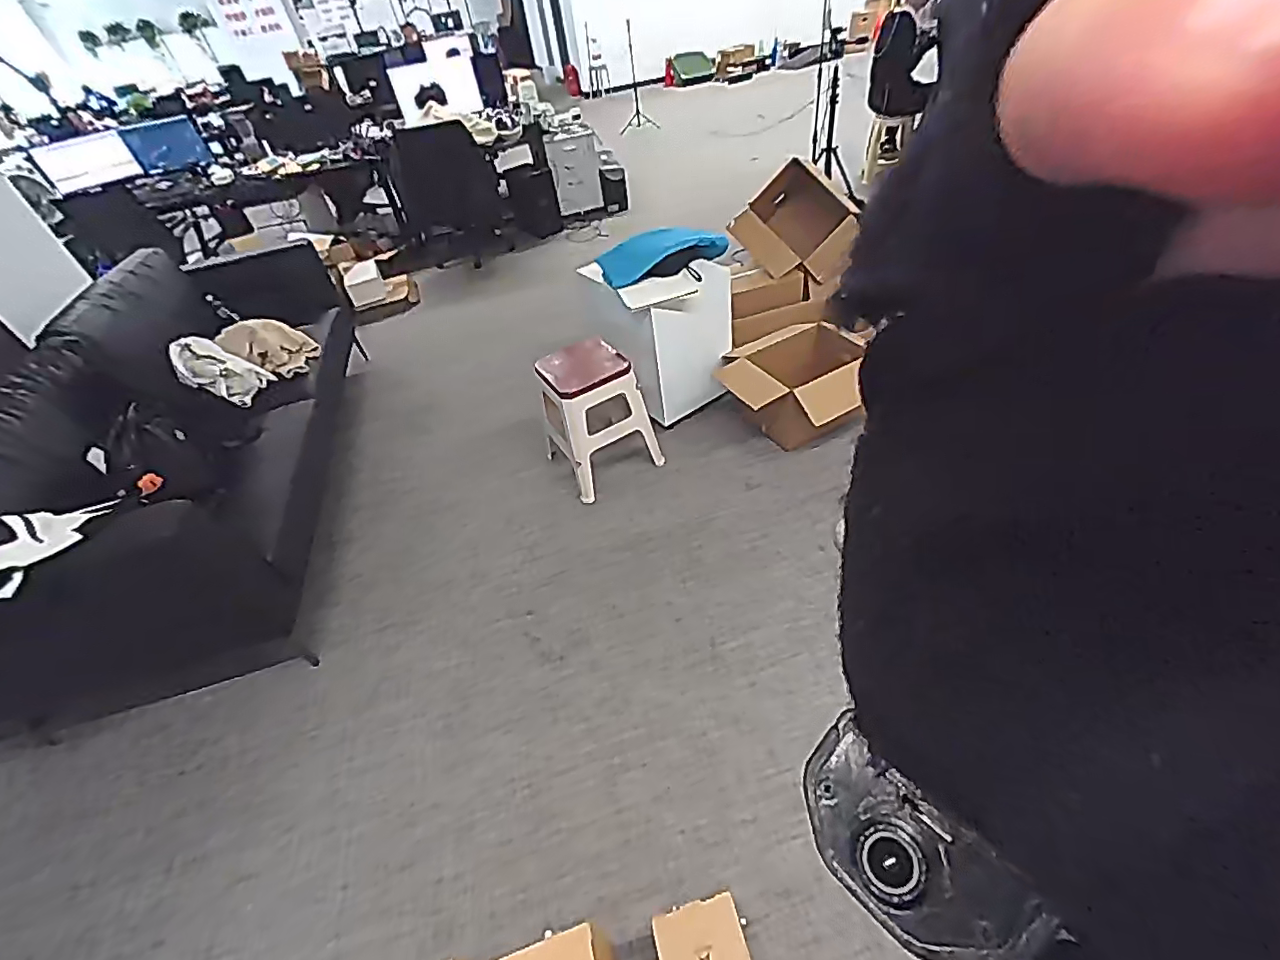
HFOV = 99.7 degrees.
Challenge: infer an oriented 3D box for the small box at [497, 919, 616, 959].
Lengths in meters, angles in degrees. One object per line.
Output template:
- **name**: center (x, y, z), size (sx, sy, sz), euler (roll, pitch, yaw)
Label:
- **small box**: center (-0.128, 0.886, 0.910), size (0.179, 0.176, 0.168), euler (-18, 44, -8)

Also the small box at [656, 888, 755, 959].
- **small box**: center (0.136, 0.935, 1.046), size (0.168, 0.176, 0.179), euler (-16, 44, -5)
